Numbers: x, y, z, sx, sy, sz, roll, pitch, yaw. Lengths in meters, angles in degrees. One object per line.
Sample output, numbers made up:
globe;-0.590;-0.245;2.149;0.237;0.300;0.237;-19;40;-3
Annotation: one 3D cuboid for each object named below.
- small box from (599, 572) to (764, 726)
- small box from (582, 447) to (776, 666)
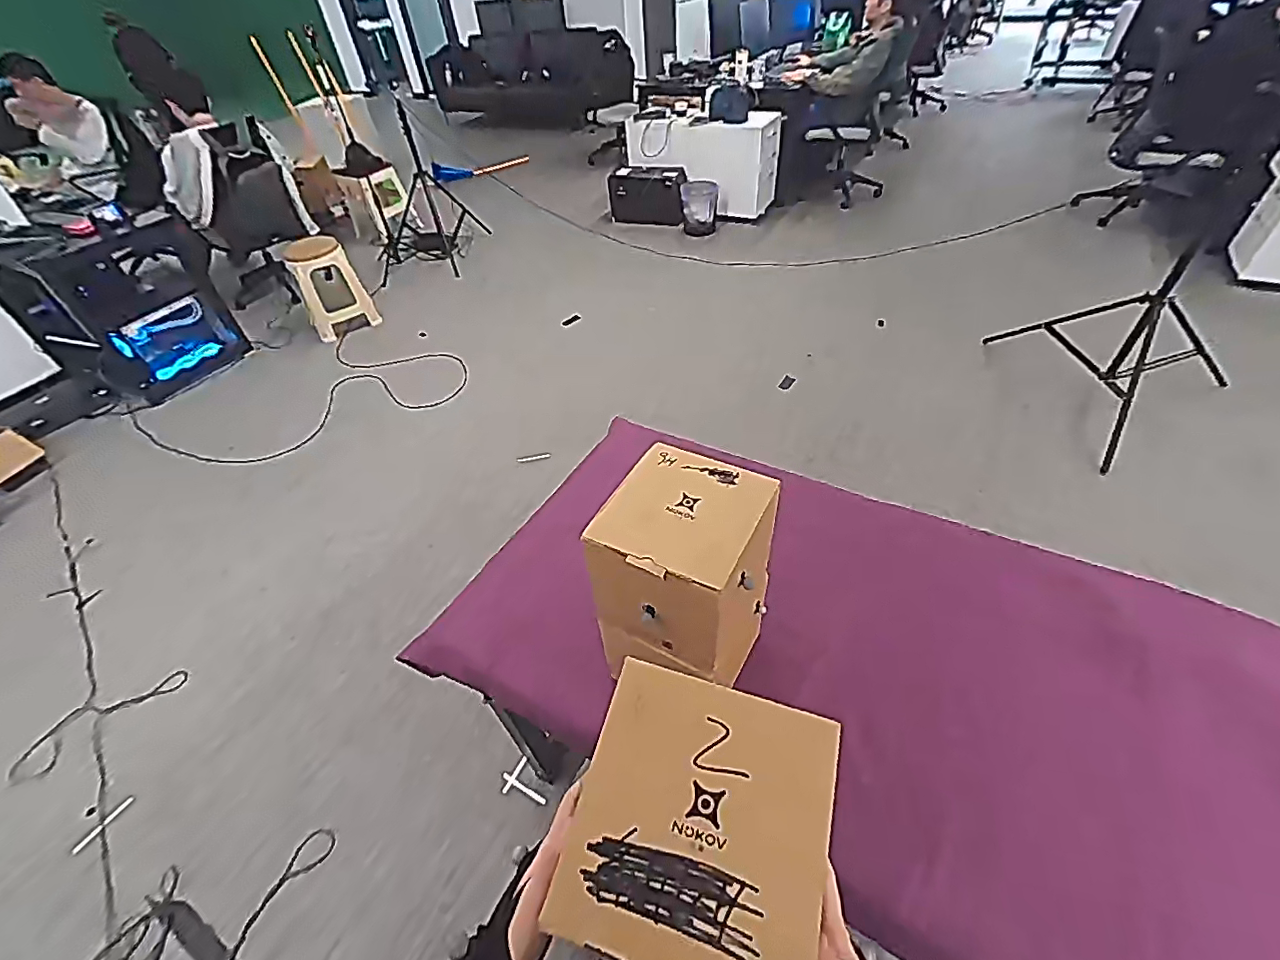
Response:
small box;0.064;0.214;0.773;0.168;0.176;0.179;20;50;24
small box;0.054;0.094;0.662;0.168;0.176;0.179;19;50;23
